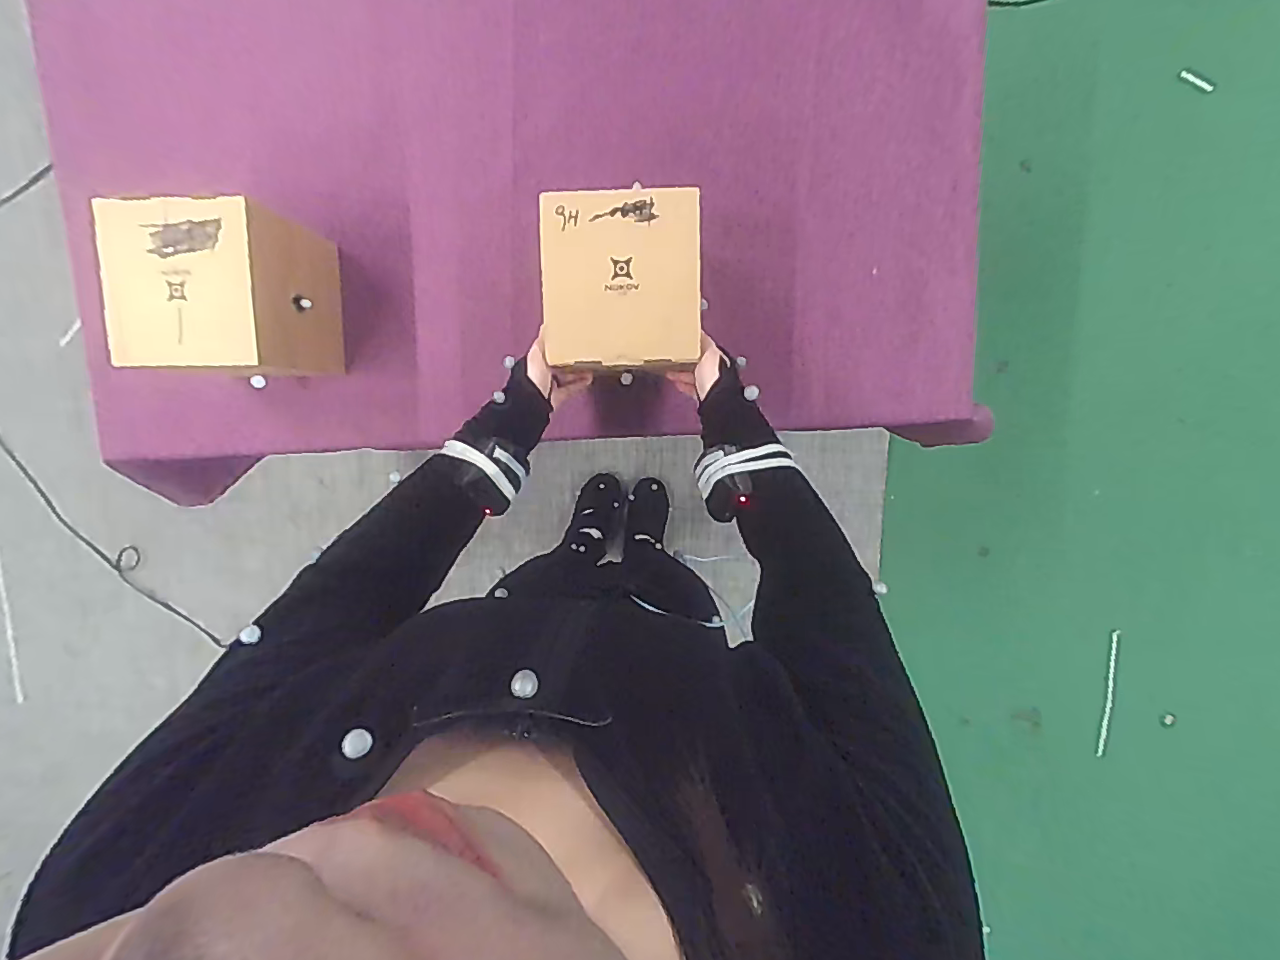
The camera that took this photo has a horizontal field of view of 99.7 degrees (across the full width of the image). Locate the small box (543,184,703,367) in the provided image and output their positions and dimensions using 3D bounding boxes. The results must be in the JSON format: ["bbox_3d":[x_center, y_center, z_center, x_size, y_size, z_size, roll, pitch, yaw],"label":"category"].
[{"bbox_3d":[-0.014,-0.225,0.638,0.168,0.176,0.179,0,98,2],"label":"small box"}]

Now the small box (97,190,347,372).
[{"bbox_3d":[-0.481,-0.225,0.650,0.168,0.176,0.179,0,98,2],"label":"small box"}]
